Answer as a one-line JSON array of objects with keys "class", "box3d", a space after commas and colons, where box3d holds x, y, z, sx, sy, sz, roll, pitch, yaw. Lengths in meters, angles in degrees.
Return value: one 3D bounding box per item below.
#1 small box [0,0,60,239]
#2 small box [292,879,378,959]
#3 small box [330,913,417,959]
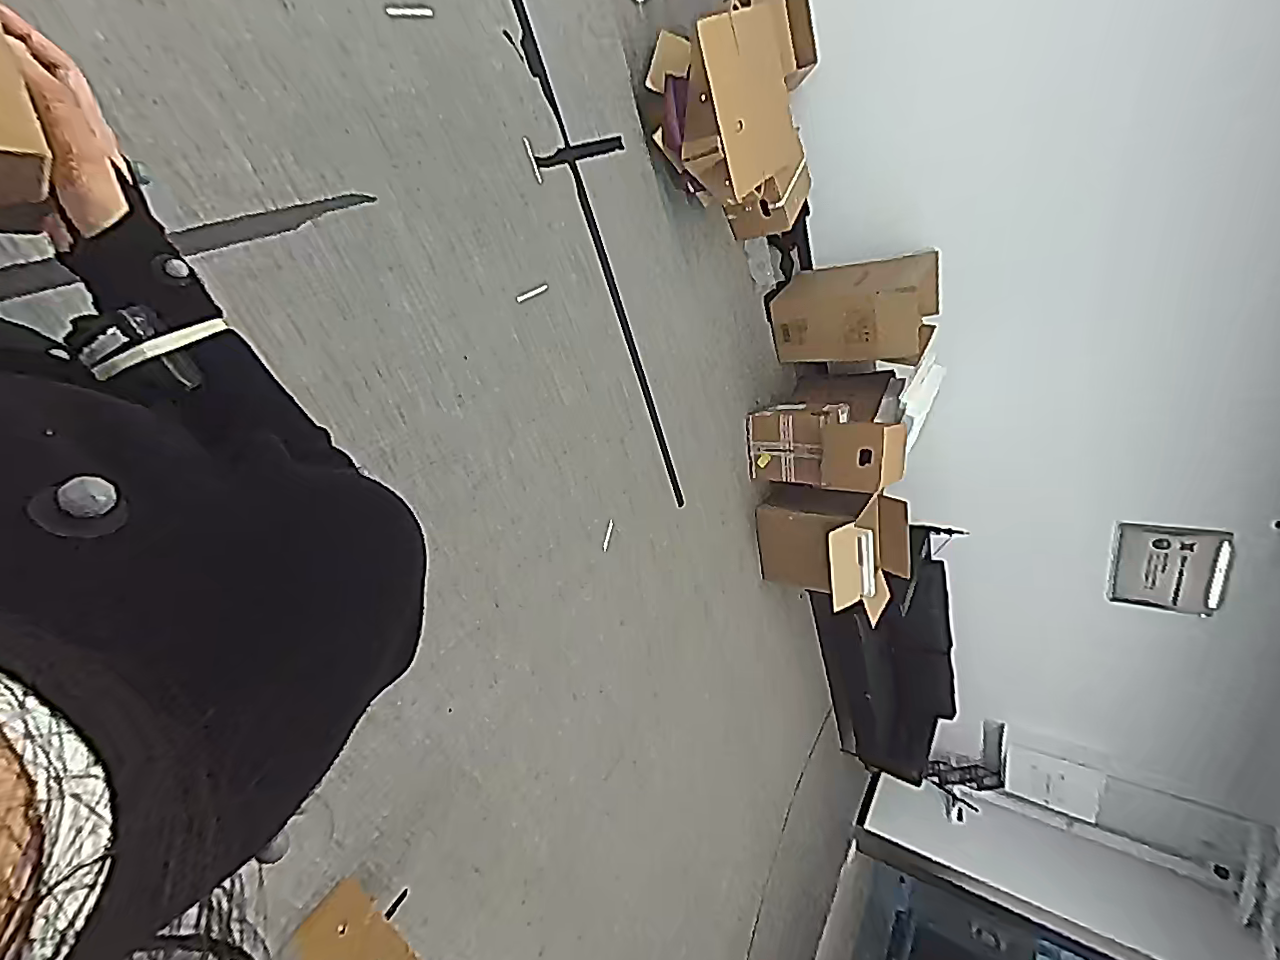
[{"class": "small box", "box3d": [-0.429, -0.231, 0.258, 0.168, 0.176, 0.179, -24, 111, -46]}, {"class": "small box", "box3d": [-0.807, 1.250, 1.469, 0.179, 0.176, 0.168, -40, 124, -43]}, {"class": "small box", "box3d": [-0.675, 1.266, 1.372, 0.179, 0.176, 0.168, -37, 121, -44]}]
